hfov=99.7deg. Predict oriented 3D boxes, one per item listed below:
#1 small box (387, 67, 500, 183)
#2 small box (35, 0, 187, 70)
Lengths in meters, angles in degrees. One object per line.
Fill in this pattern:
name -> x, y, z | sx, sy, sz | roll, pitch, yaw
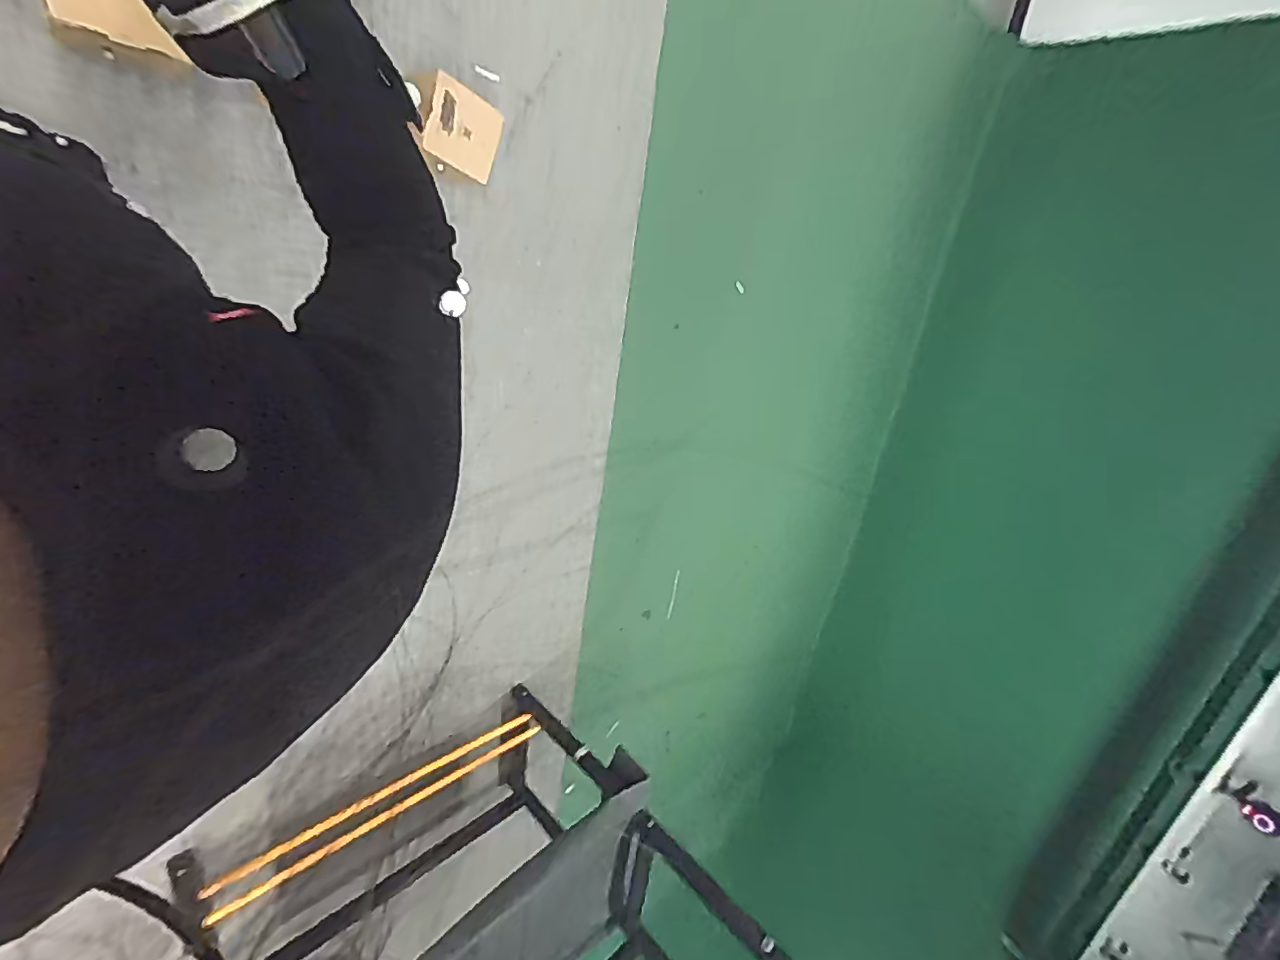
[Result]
small box -> -0.471, -0.832, 1.286 | 0.179, 0.176, 0.168 | 7, 105, -52
small box -> -0.855, -0.795, 0.865 | 0.168, 0.176, 0.179 | -12, 119, -45
